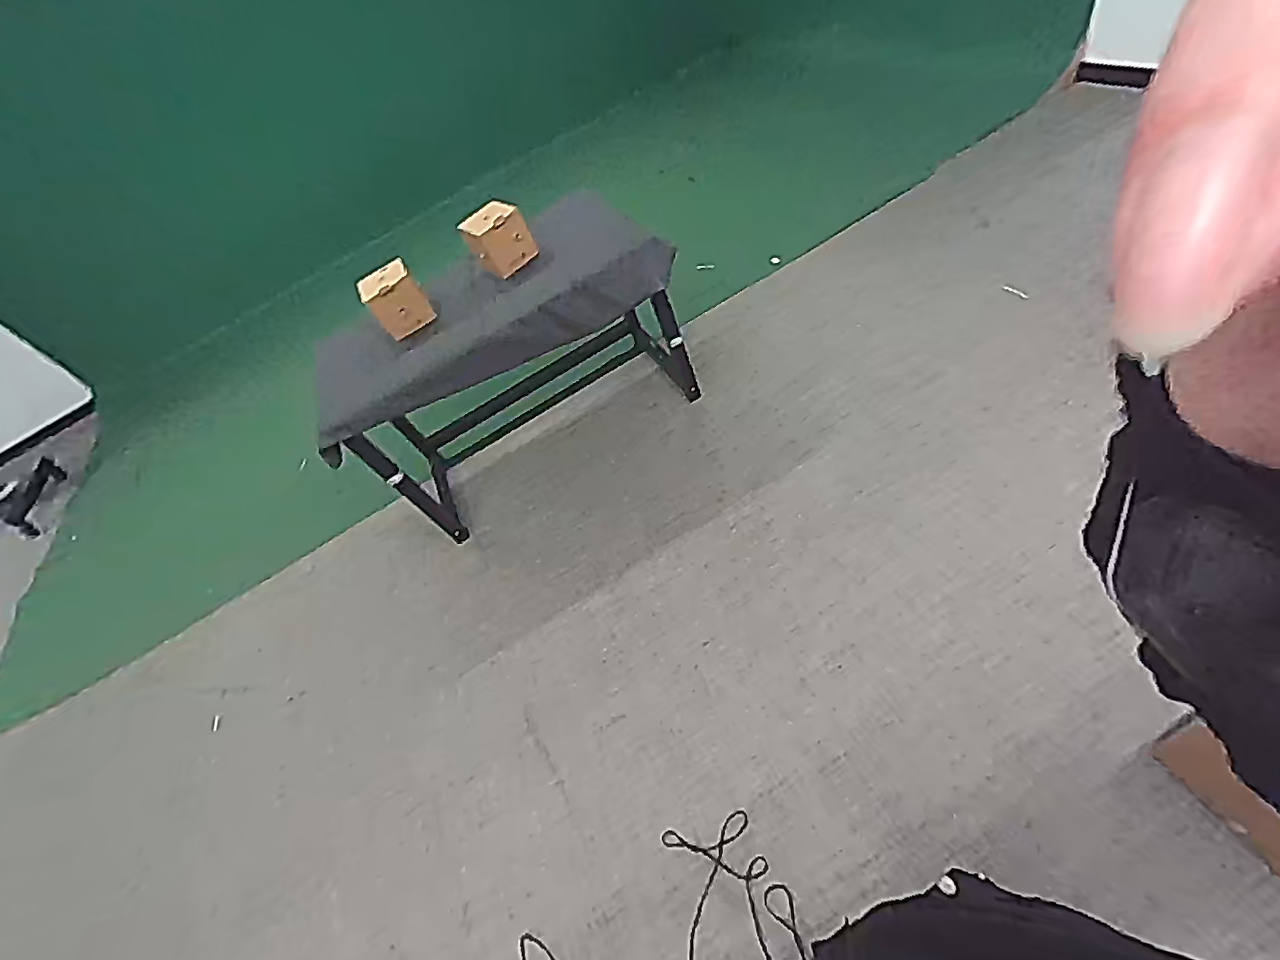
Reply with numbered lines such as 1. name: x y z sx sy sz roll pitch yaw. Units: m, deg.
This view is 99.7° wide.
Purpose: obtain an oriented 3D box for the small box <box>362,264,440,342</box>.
1. small box: -0.819 -0.603 1.860 0.168 0.176 0.179 -36 48 -6

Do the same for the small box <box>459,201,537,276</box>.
1. small box: -0.487 -0.833 1.875 0.168 0.176 0.179 -40 49 -14
